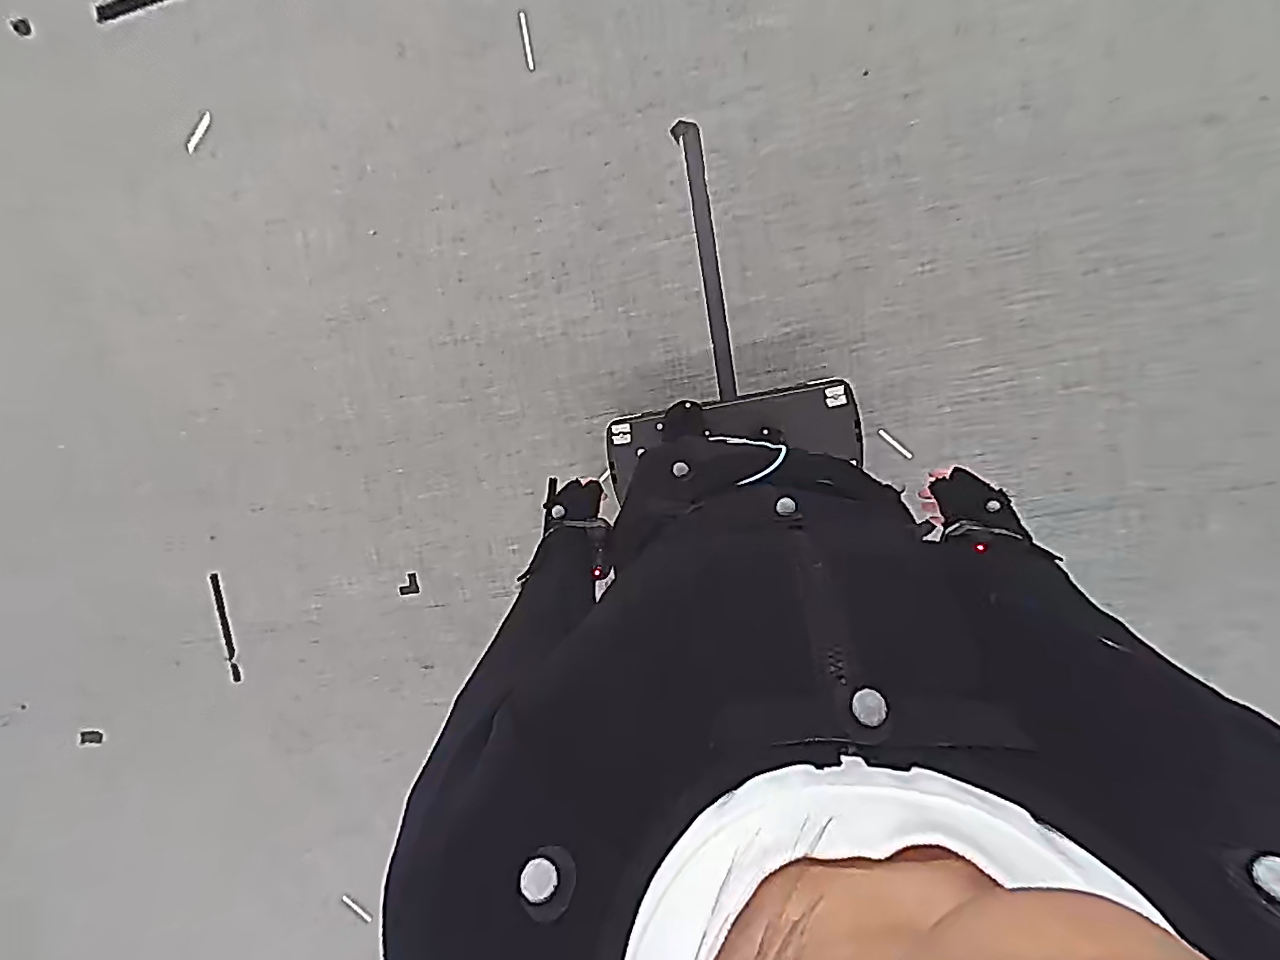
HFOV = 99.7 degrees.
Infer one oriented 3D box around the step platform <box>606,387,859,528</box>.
[{"bbox_3d":[0.248,-0.060,1.523,0.684,0.204,0.286,-11,97,8],"label":"step platform"}]
